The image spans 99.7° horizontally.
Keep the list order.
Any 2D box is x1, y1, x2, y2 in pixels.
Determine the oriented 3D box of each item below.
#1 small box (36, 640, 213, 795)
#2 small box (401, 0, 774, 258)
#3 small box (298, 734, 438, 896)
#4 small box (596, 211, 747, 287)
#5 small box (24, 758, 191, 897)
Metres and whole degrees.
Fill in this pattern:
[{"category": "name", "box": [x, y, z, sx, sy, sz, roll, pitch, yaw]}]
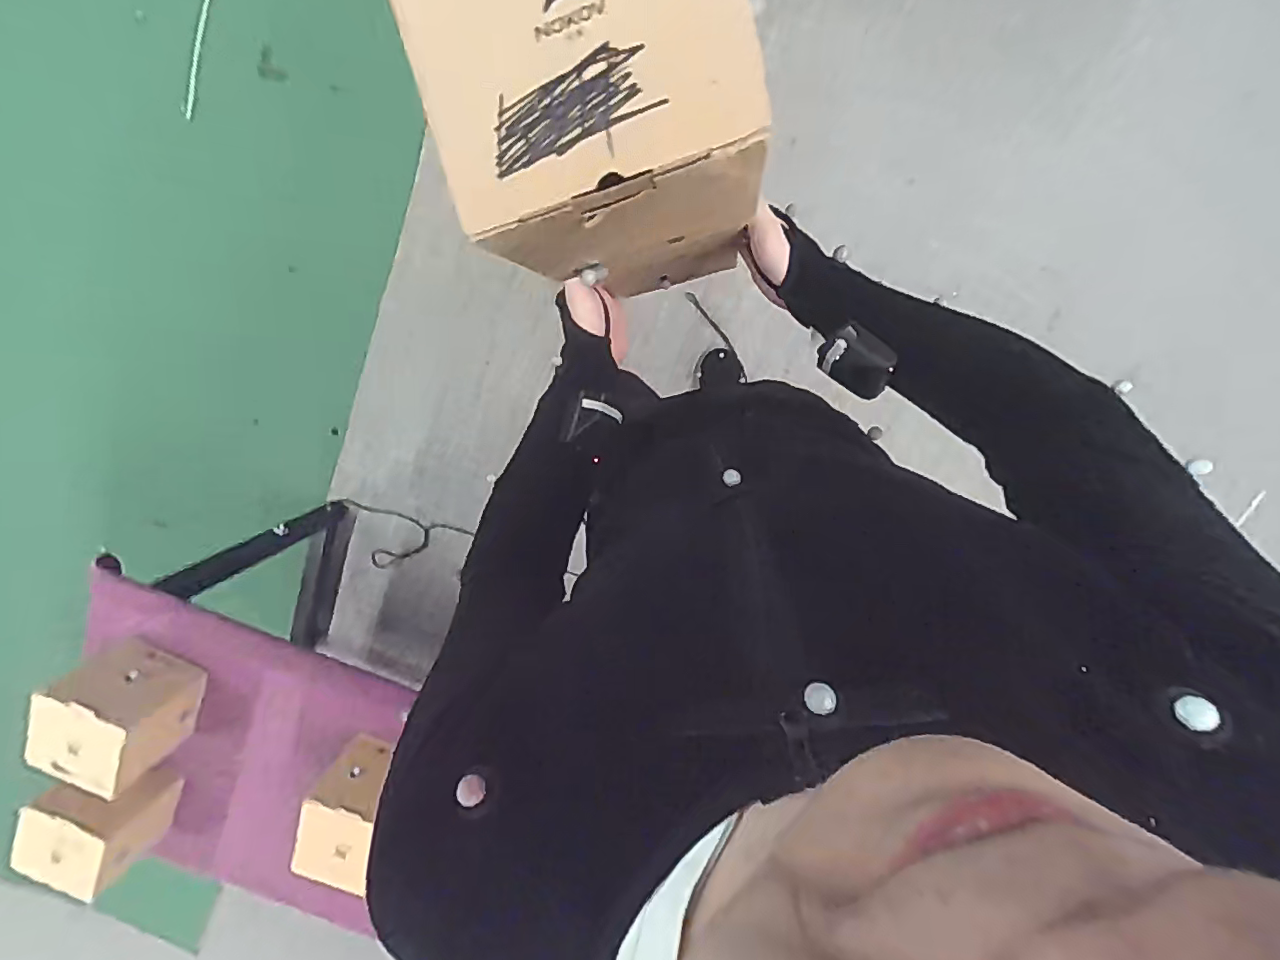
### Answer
[{"category": "small box", "box": [-0.959, 0.437, 1.020, 0.168, 0.176, 0.179, 27, 107, -2]}, {"category": "small box", "box": [-0.020, -0.248, 0.327, 0.168, 0.176, 0.179, -12, 100, 11]}, {"category": "small box", "box": [-0.506, 0.624, 1.026, 0.168, 0.176, 0.179, 19, 107, 1]}, {"category": "small box", "box": [0.026, -0.344, 0.639, 0.168, 0.176, 0.179, -11, 101, 11]}, {"category": "small box", "box": [-1.069, 0.678, 1.098, 0.168, 0.176, 0.179, 27, 105, -2]}]
